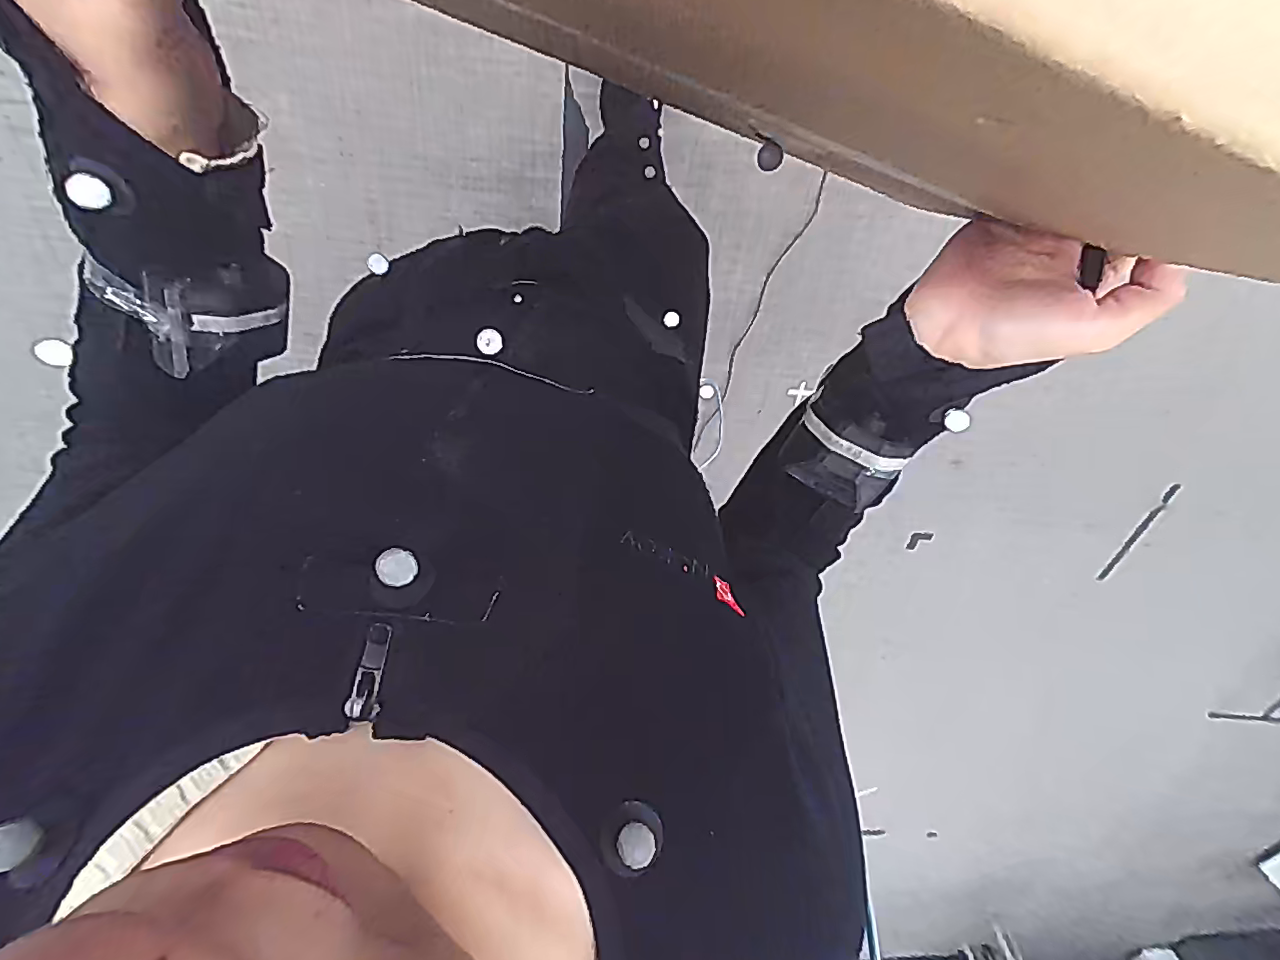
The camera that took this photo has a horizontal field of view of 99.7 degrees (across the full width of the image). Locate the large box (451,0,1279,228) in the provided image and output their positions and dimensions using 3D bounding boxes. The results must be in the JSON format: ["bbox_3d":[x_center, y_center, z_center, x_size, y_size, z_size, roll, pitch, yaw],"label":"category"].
[{"bbox_3d":[0.044,-0.291,0.121,0.408,0.320,0.320,12,122,-12],"label":"large box"}]
